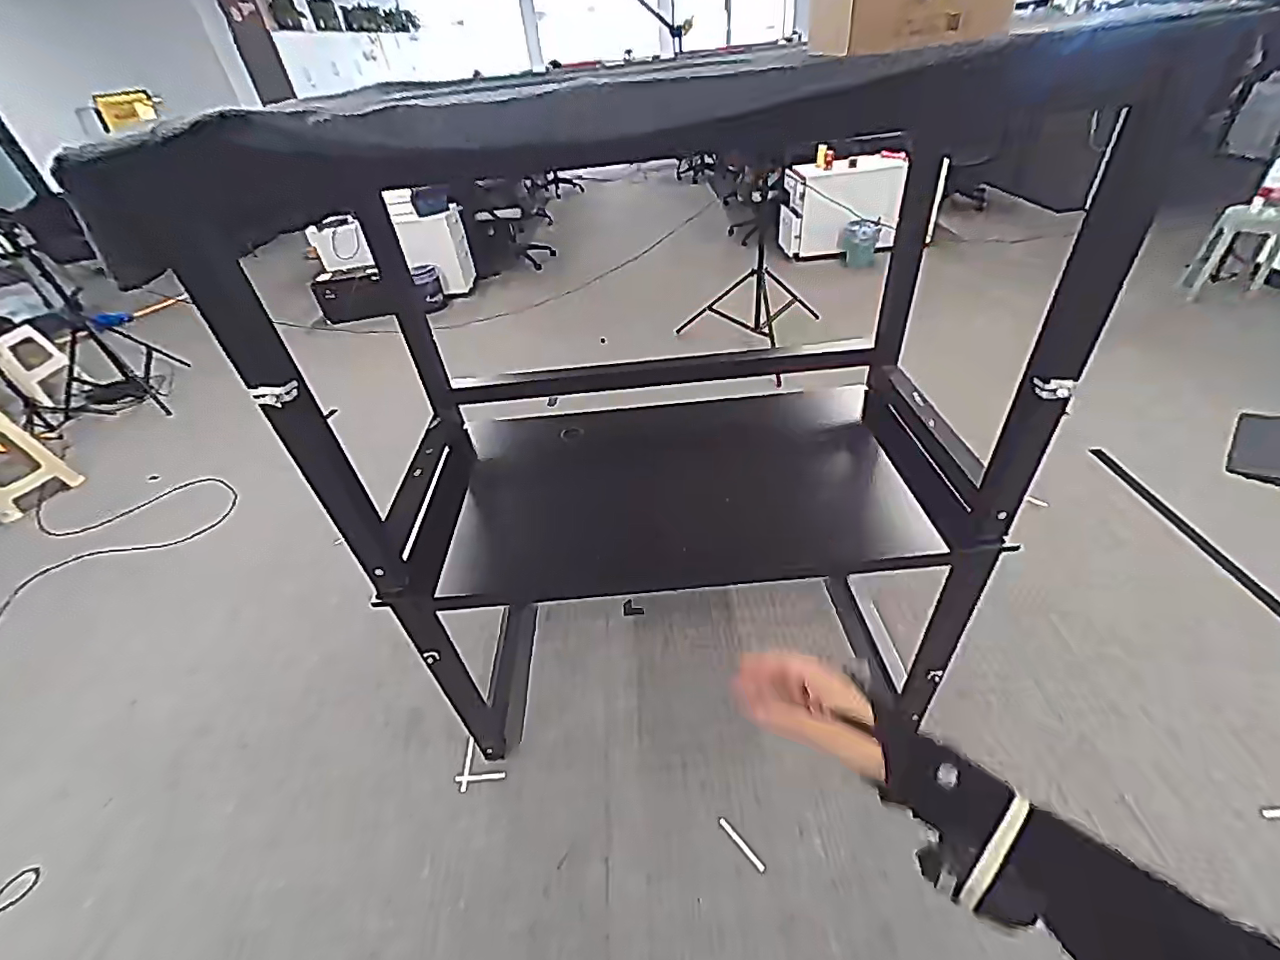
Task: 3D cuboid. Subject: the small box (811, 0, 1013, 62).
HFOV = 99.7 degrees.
[{"bbox_3d":[0.290,-0.564,0.582,0.168,0.176,0.179,-6,39,4],"label":"small box"}]
